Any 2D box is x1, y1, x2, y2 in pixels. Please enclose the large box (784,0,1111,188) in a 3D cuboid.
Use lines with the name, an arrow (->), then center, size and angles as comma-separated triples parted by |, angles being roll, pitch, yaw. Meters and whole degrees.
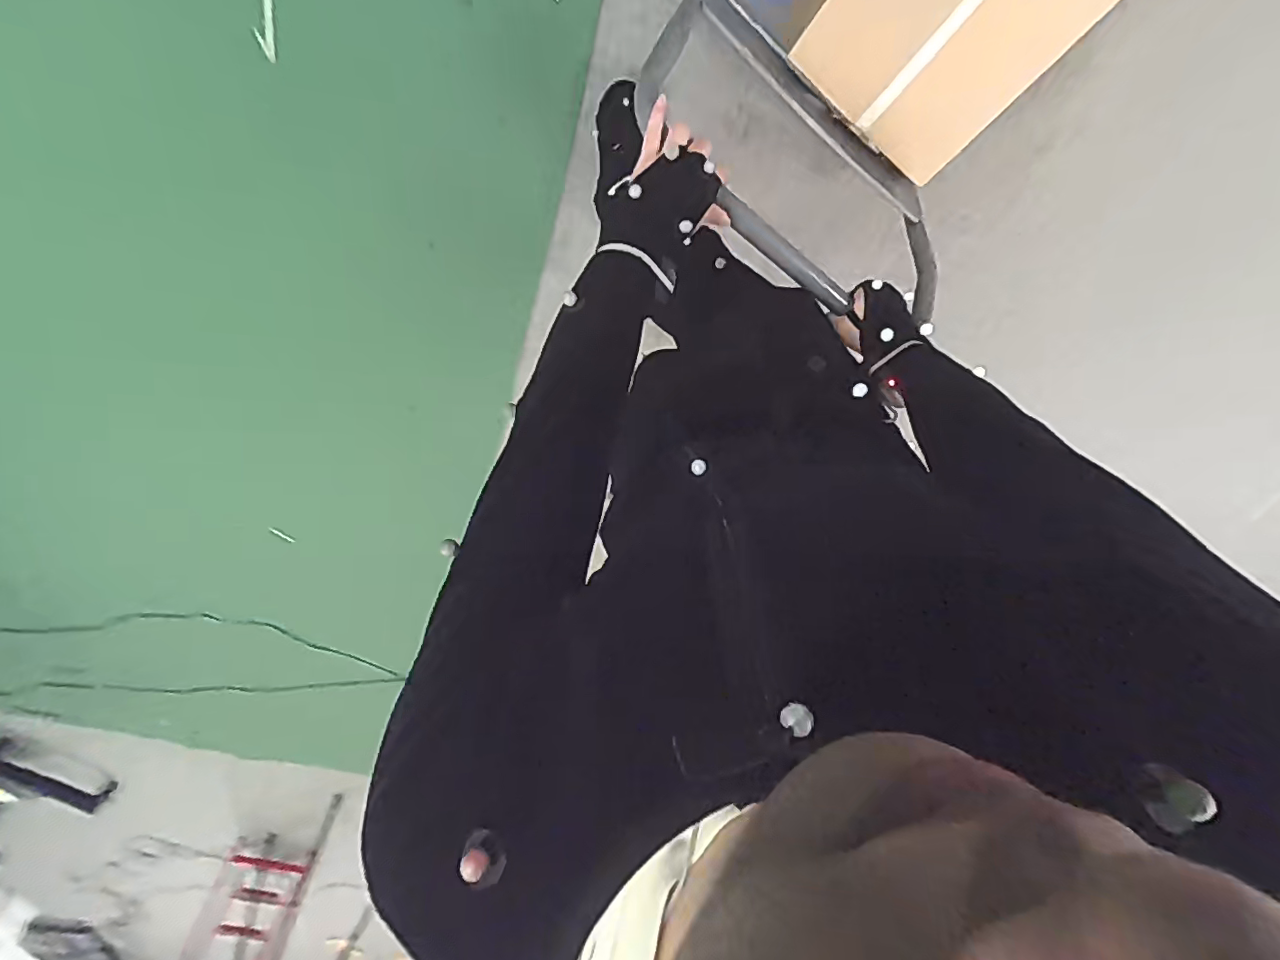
large box -> 0.477, -0.776, 0.850 | 0.320, 0.320, 0.408 | 30, 136, -20
